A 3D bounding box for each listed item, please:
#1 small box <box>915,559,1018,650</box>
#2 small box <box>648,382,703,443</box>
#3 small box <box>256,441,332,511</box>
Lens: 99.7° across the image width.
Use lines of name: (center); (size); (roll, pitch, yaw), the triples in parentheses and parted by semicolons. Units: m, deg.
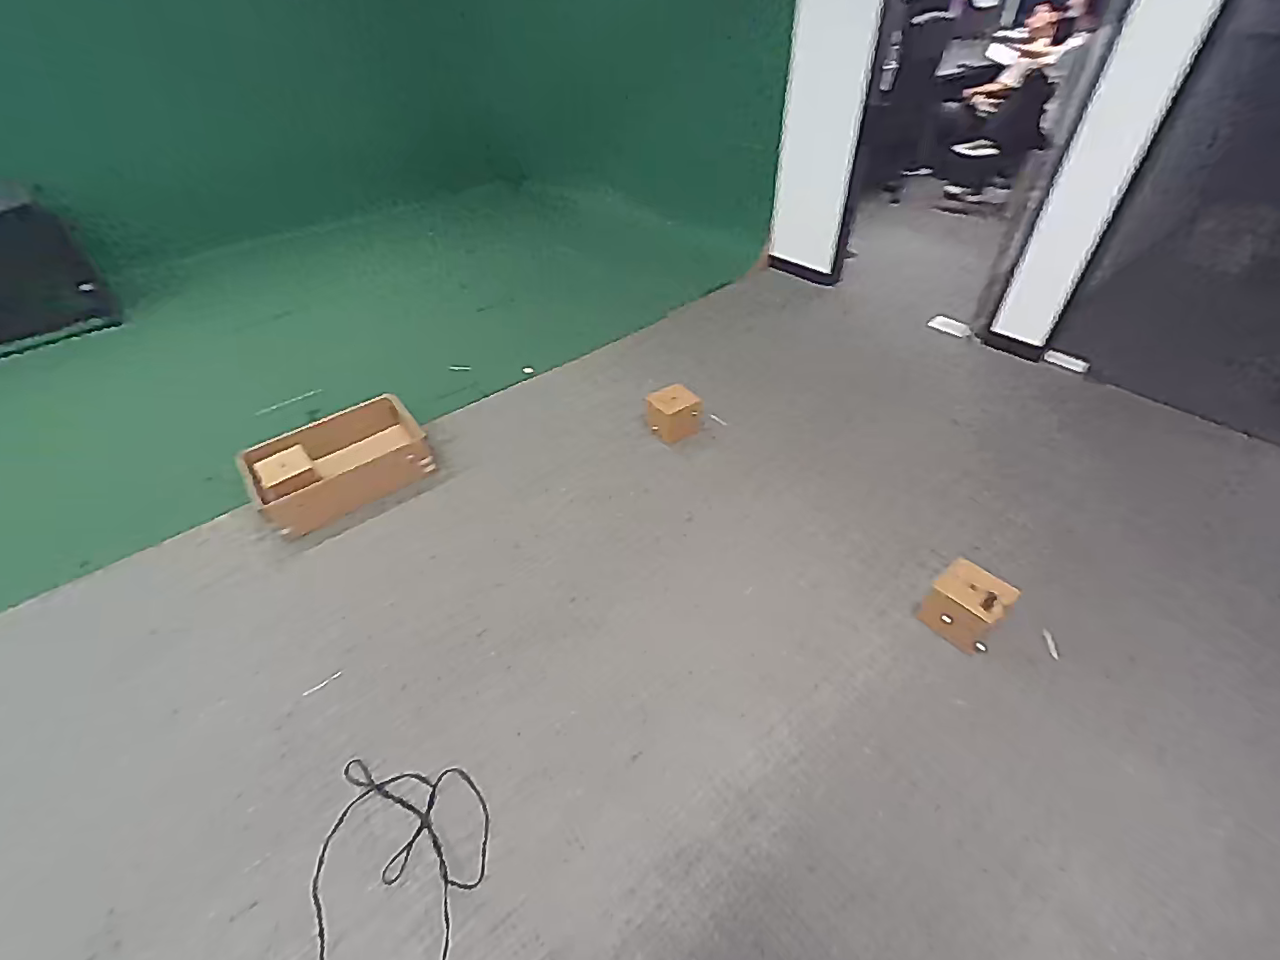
small box: (0.957, 0.375, 1.599); (0.168, 0.176, 0.179); (-30, 50, -25)
small box: (0.148, -0.288, 2.322); (0.179, 0.176, 0.168); (-26, 48, -22)
small box: (-1.309, -0.014, 2.053); (0.168, 0.176, 0.179); (-33, 53, -27)
